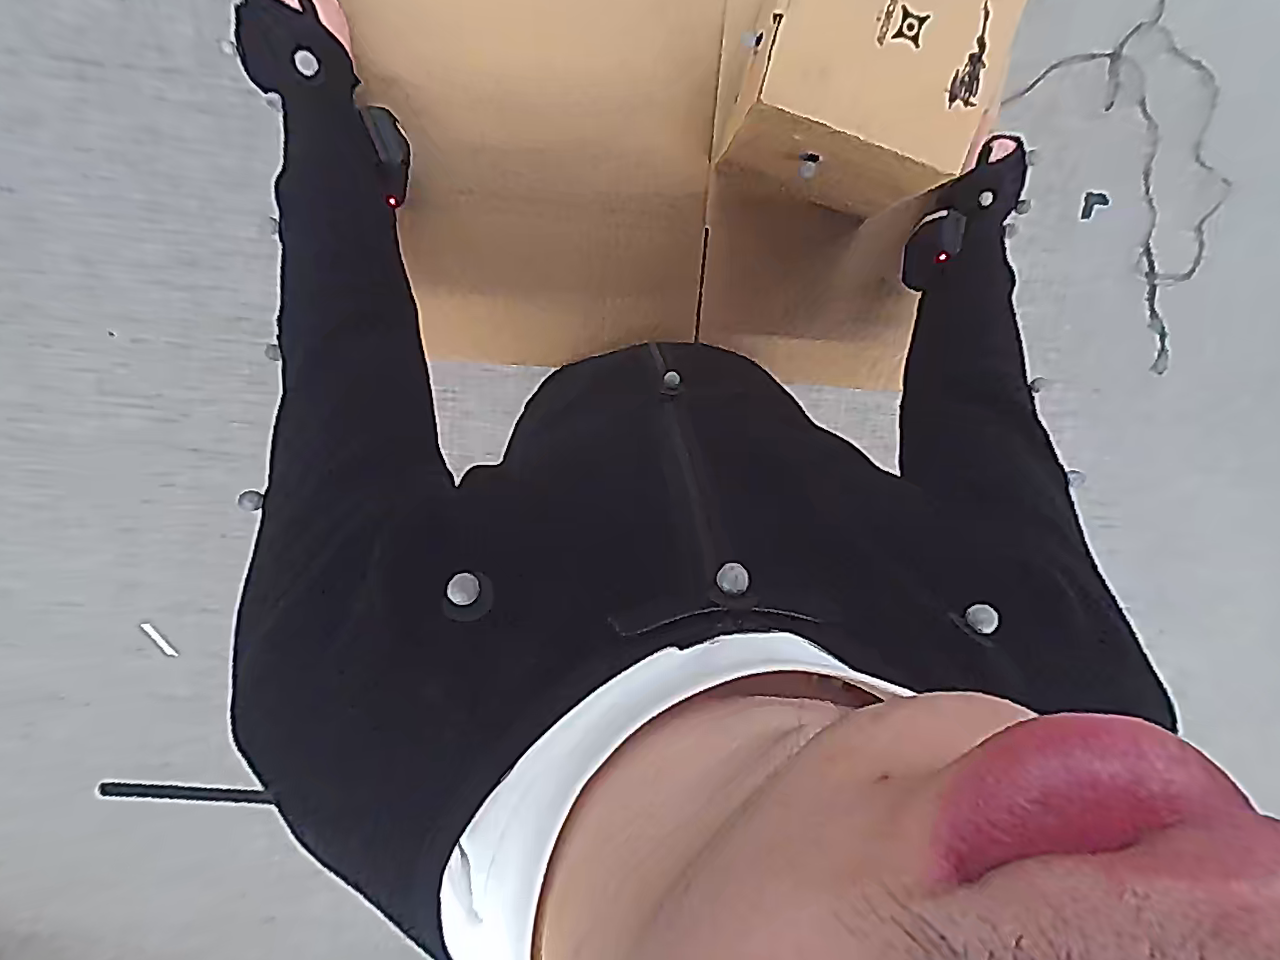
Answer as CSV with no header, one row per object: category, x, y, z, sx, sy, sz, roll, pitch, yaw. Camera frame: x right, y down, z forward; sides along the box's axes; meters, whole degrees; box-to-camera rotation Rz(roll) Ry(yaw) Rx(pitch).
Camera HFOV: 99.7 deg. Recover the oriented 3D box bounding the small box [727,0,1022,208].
small box,0.192,-0.367,0.484,0.179,0.176,0.168,16,104,-6
